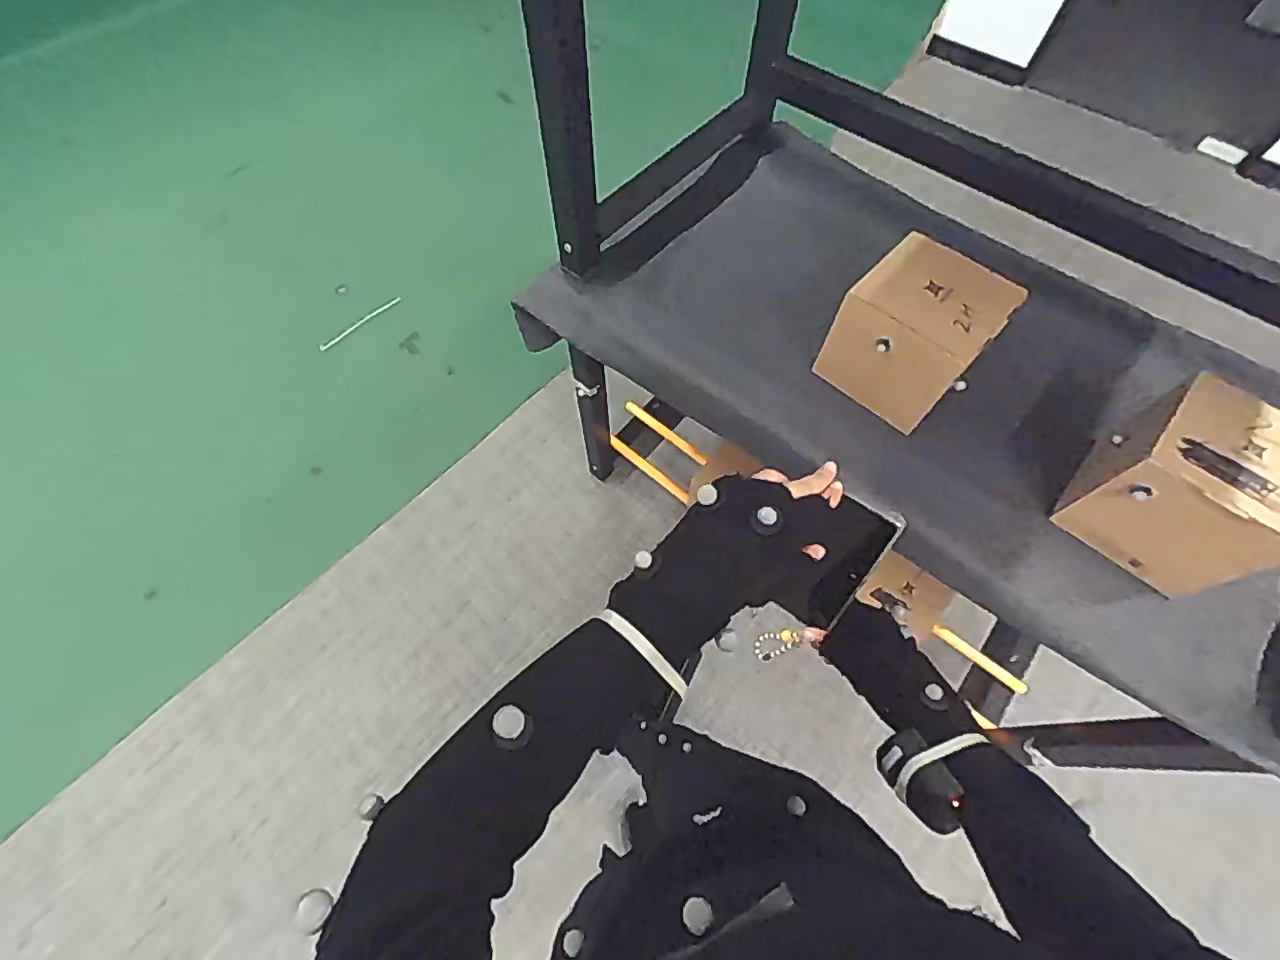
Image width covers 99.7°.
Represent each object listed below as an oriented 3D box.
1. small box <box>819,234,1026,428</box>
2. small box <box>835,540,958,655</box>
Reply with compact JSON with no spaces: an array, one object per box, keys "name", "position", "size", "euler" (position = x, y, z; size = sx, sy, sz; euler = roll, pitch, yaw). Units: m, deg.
[{"name":"small box","position":[0.389,-0.208,0.780],"size":[0.179,0.176,0.168],"euler":[41,70,18]},{"name":"small box","position":[0.572,0.274,1.235],"size":[0.168,0.176,0.179],"euler":[41,70,18]}]
